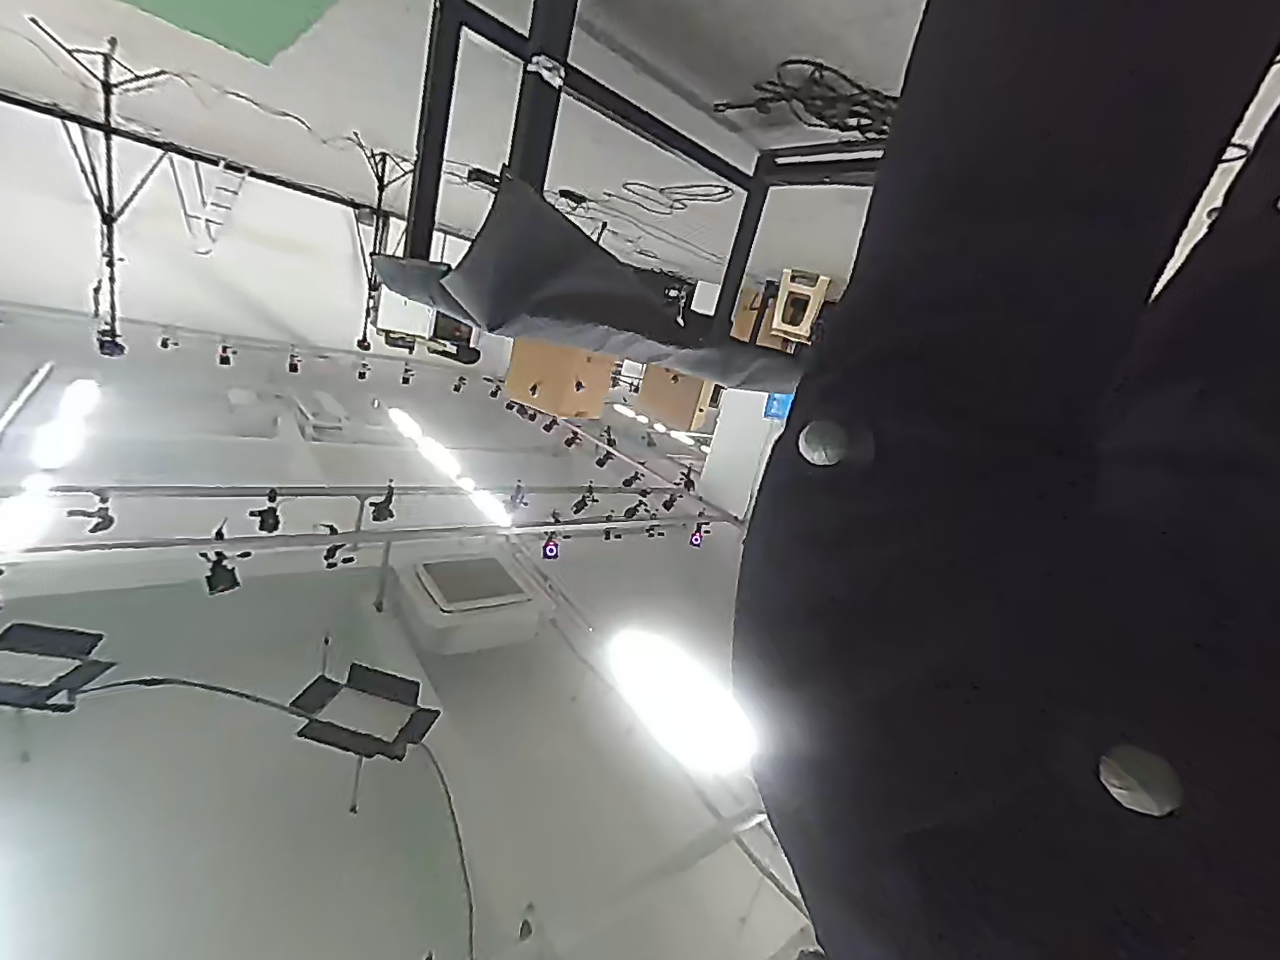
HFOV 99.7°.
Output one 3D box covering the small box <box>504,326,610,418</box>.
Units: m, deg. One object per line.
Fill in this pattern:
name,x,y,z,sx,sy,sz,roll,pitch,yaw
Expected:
small box,-0.186,-0.250,1.256,0.179,0.176,0.168,25,-163,27
